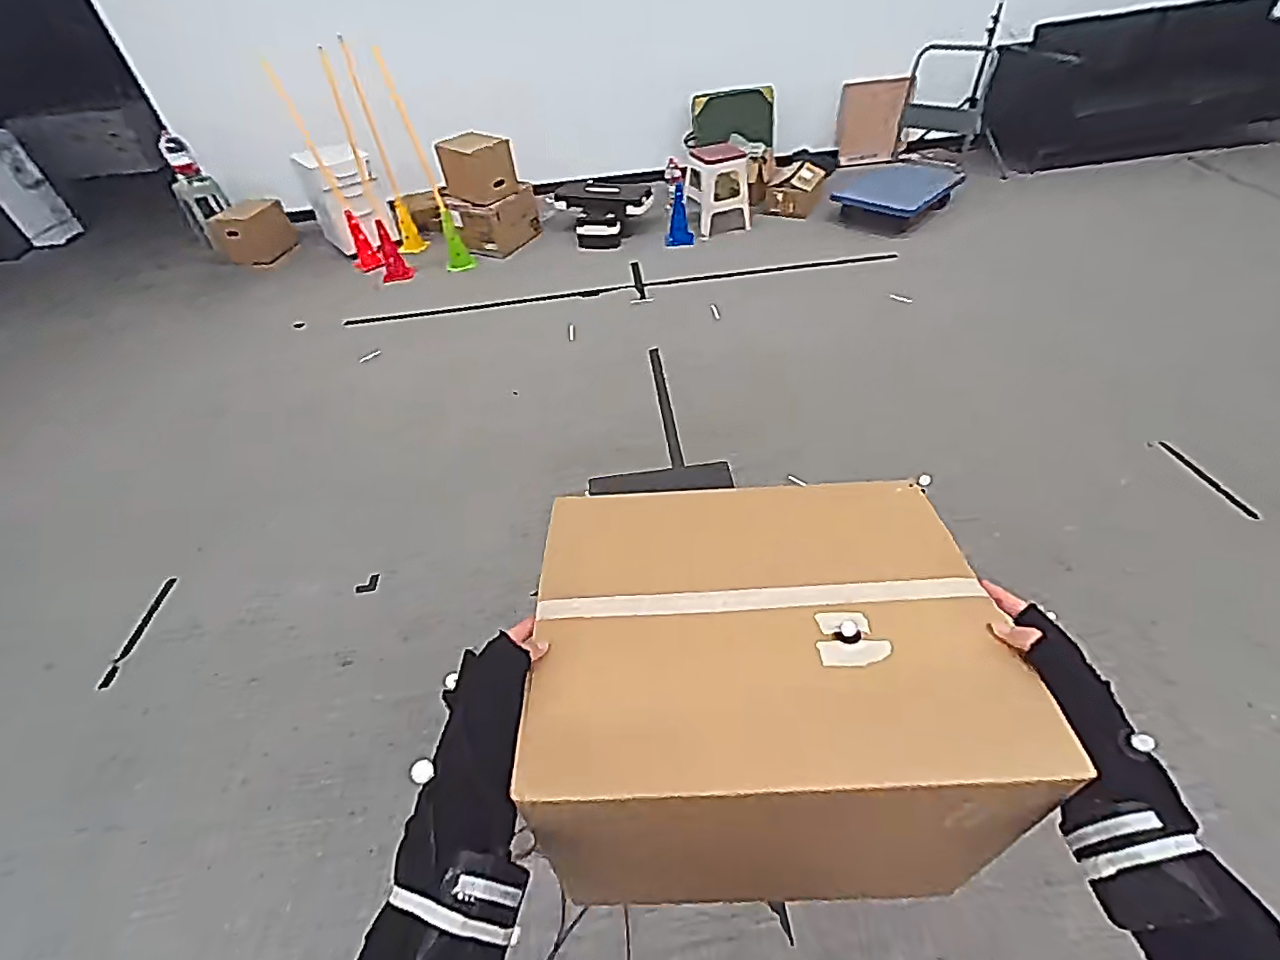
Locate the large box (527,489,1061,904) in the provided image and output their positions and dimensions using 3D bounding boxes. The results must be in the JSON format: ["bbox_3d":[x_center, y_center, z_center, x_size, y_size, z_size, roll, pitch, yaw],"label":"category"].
[{"bbox_3d":[0.115,0.235,0.603,0.408,0.320,0.320,-4,41,1],"label":"large box"}]
